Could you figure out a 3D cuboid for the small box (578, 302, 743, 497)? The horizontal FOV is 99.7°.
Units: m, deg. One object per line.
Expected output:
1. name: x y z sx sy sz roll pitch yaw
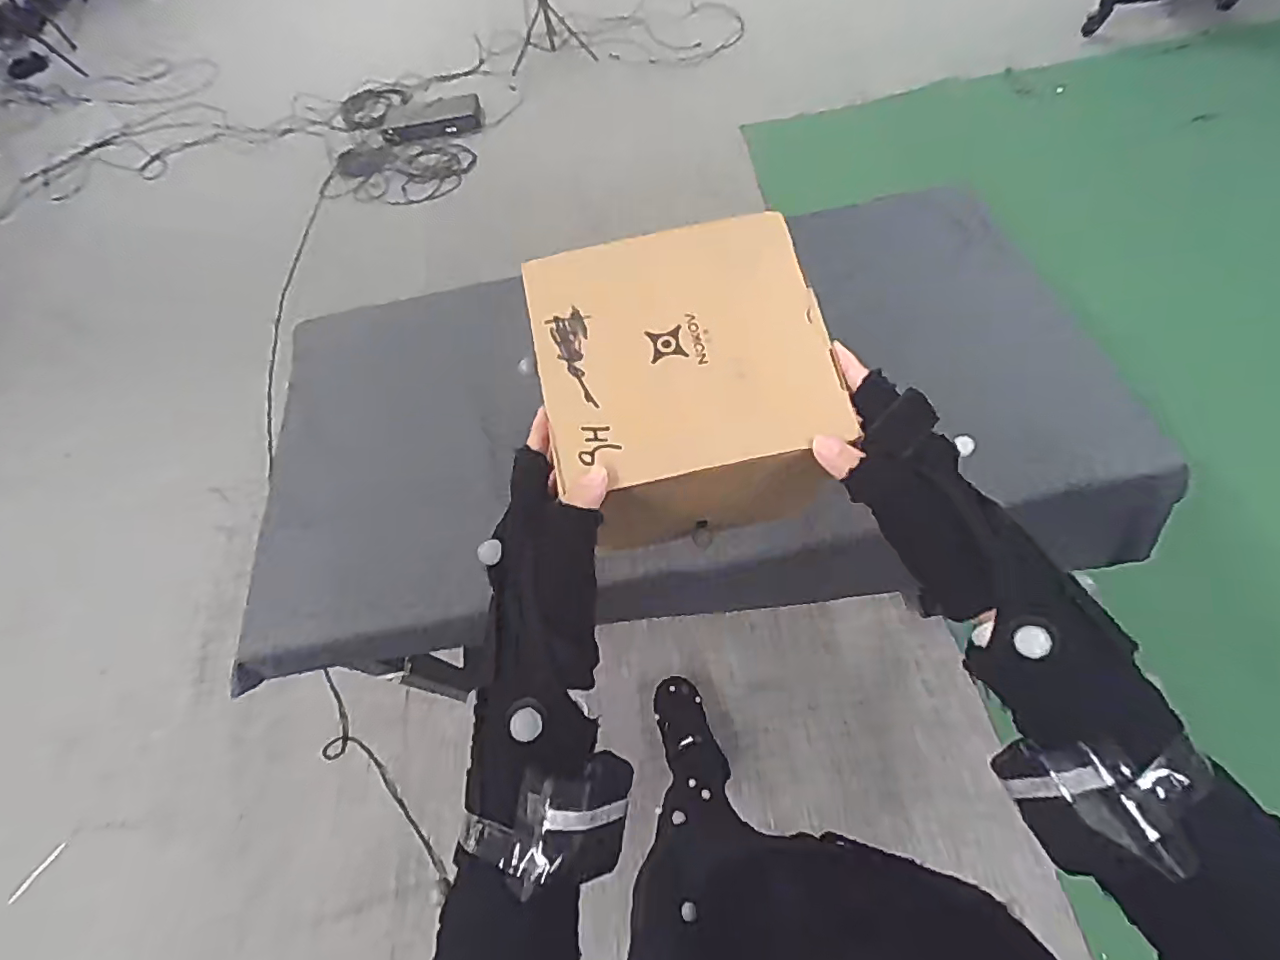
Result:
1. small box: 0.028 -0.099 0.714 0.179 0.176 0.168 -13 59 2
